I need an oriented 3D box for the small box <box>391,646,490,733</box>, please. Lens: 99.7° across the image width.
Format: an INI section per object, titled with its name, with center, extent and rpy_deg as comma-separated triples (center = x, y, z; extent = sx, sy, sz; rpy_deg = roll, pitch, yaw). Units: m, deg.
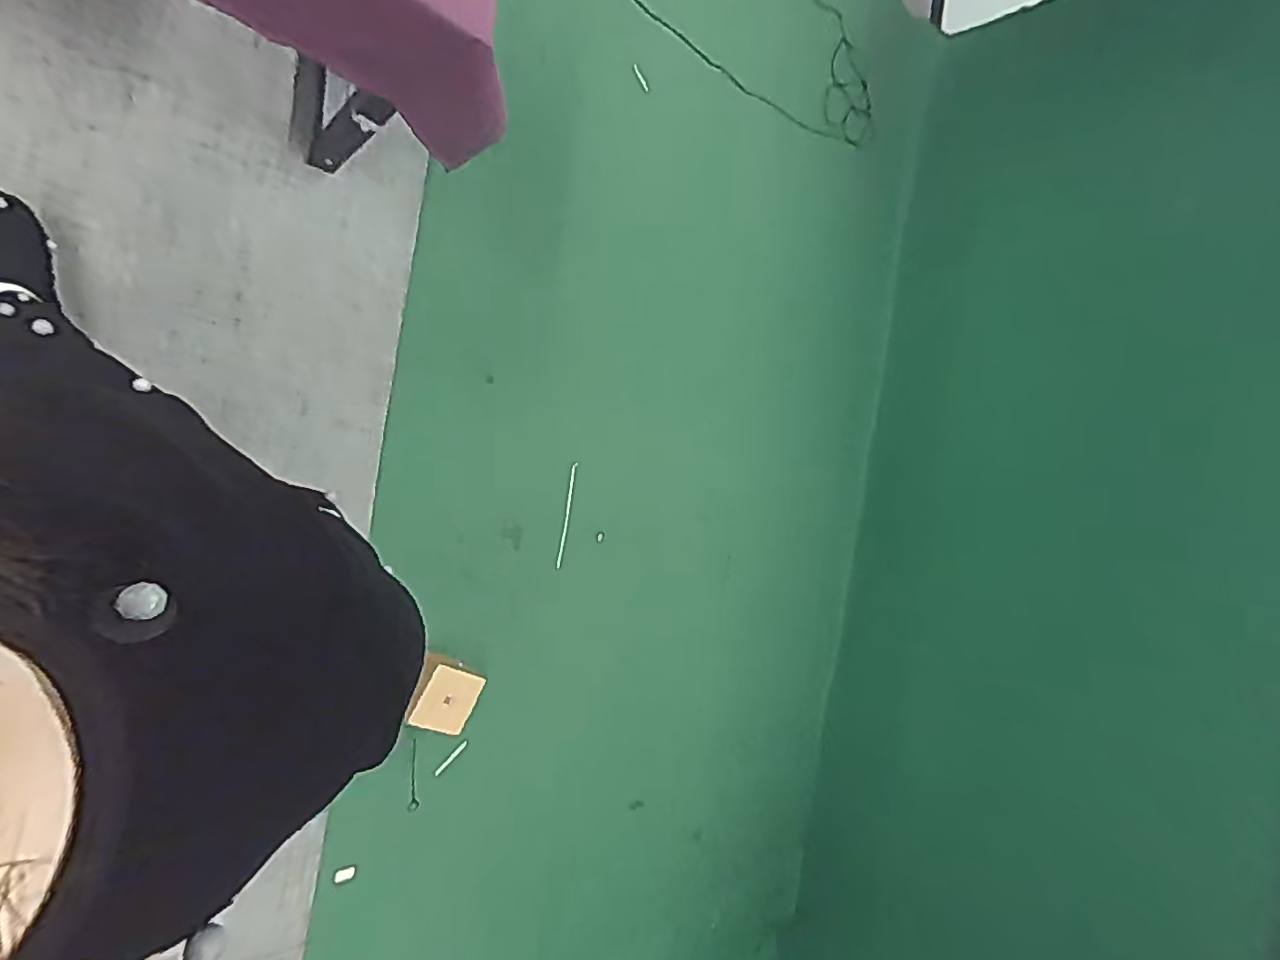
[small box]
center = -0.574, 0.596, 1.553
extent = 0.179, 0.176, 0.168
rpy_deg = 41, 67, -41
